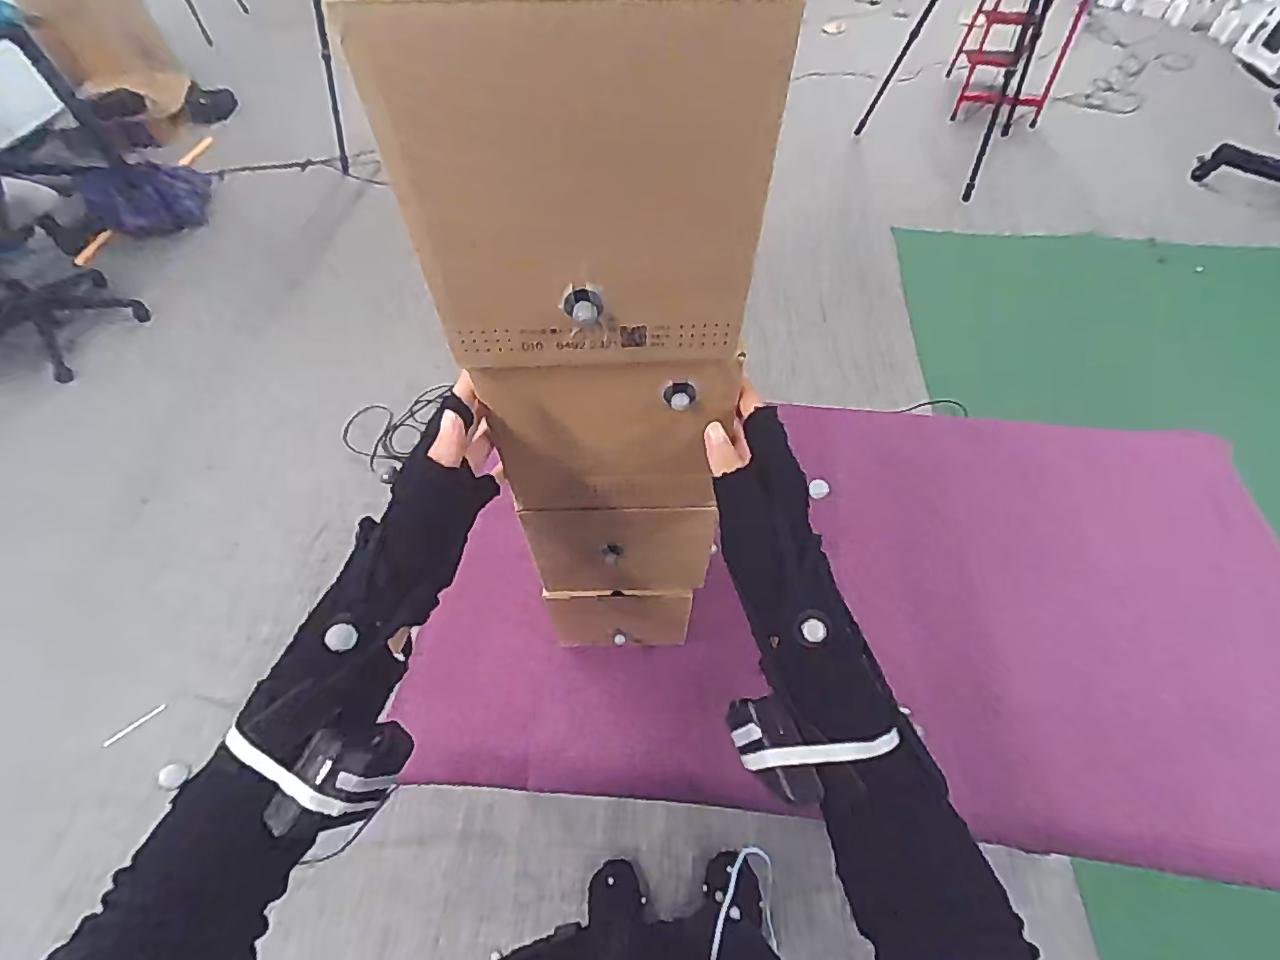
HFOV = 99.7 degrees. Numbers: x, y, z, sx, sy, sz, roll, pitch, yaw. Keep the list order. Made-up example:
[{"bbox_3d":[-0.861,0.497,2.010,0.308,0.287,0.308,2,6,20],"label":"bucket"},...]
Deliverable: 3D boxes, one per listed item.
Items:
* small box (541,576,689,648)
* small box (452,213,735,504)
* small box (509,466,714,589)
[{"bbox_3d":[-0.026,0.104,0.700,0.168,0.176,0.179,-1,55,1],"label":"small box"},{"bbox_3d":[-0.028,-0.091,0.437,0.179,0.176,0.168,-1,54,0],"label":"small box"},{"bbox_3d":[-0.022,0.004,0.566,0.179,0.176,0.168,1,52,2],"label":"small box"}]
